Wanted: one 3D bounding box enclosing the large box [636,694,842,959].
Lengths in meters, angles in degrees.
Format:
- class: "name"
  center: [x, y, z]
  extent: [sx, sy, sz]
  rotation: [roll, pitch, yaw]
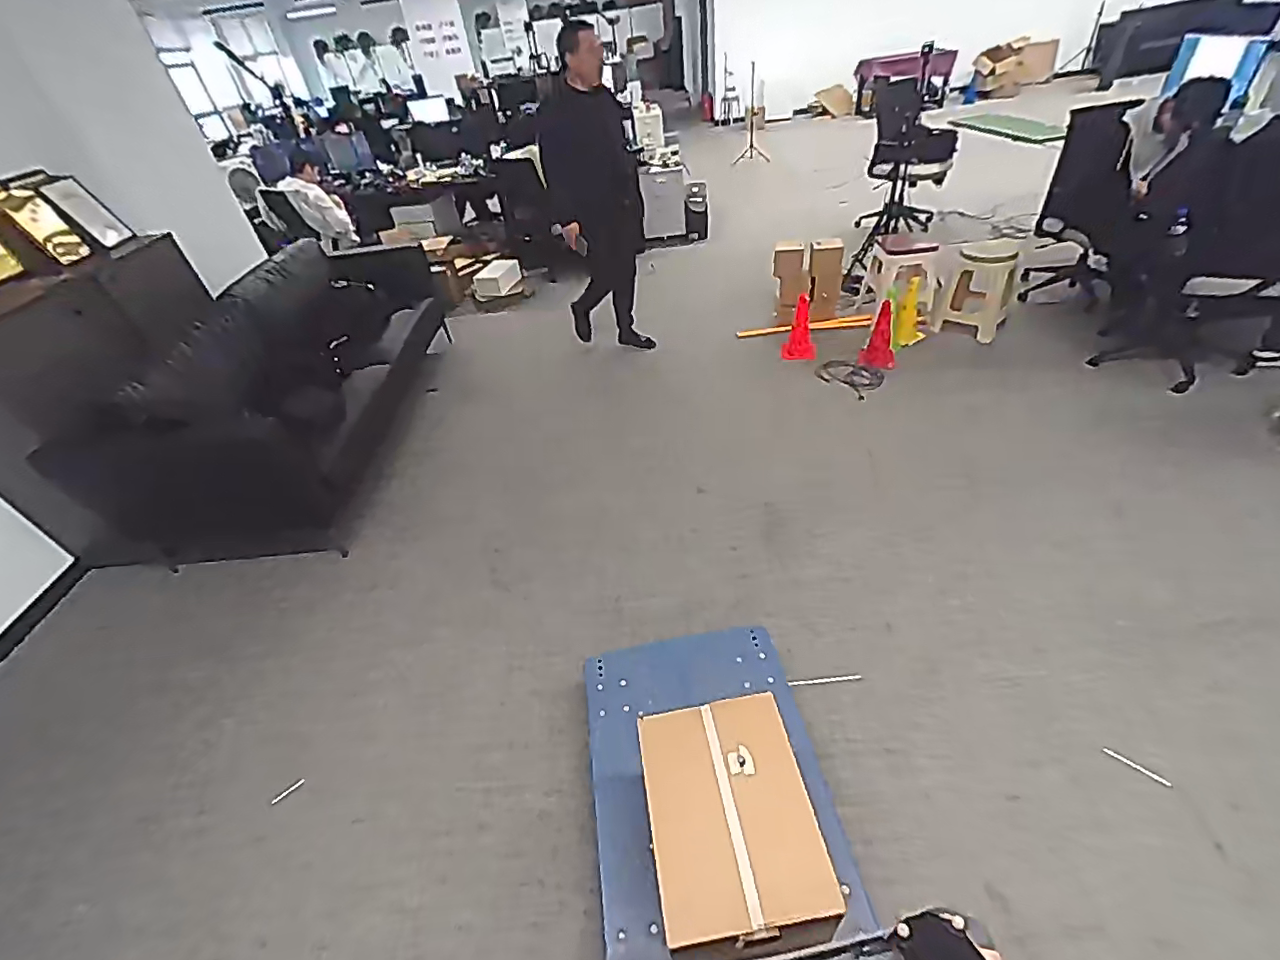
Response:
- class: "large box"
  center: [0.191, 0.751, 1.165]
  extent: [0.320, 0.320, 0.408]
  rotation: [-11, 40, -2]
